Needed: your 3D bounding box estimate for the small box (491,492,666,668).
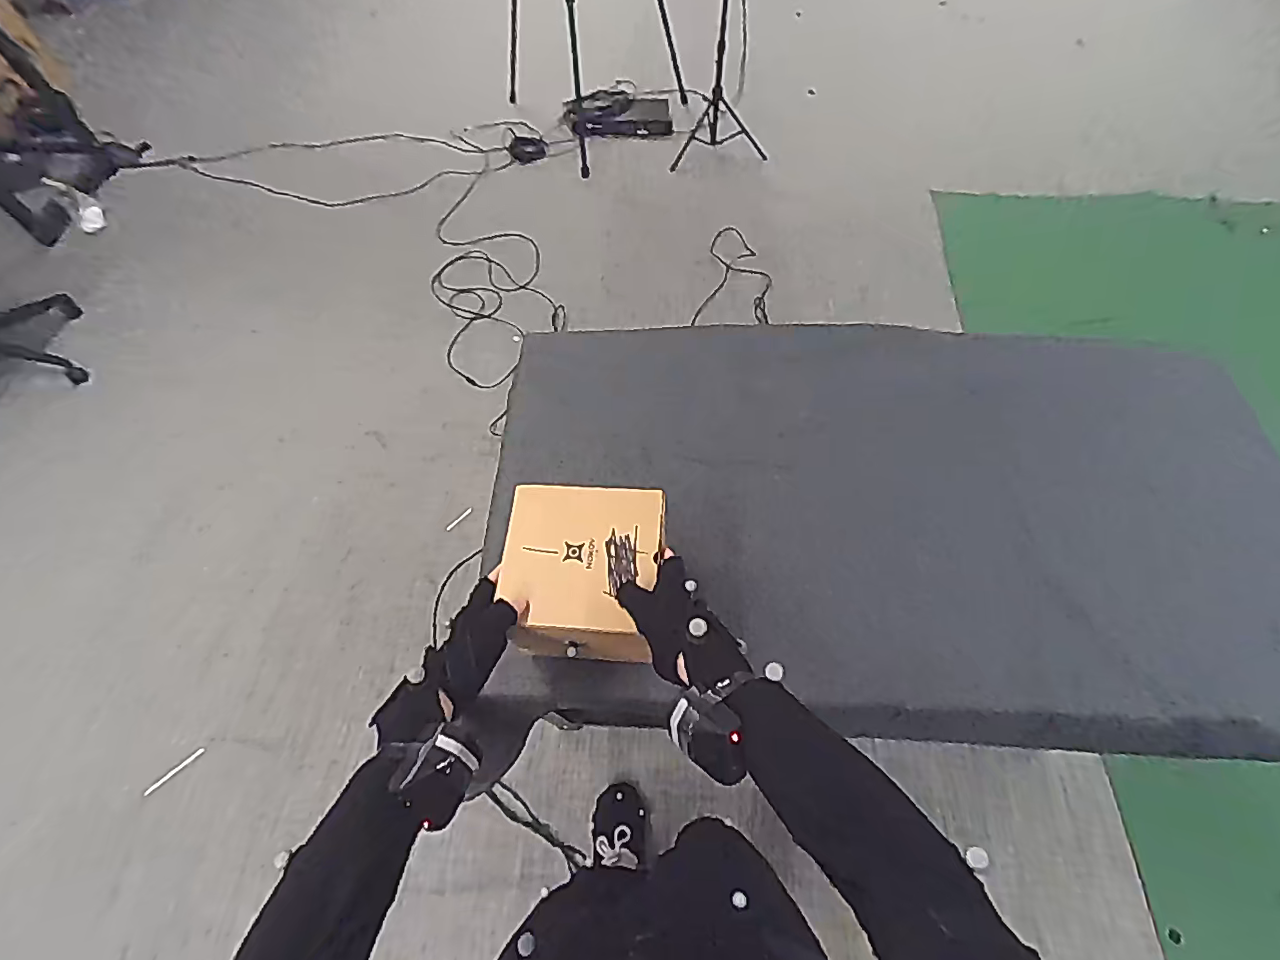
[{"bbox_3d":[-0.060,0.129,0.663,0.179,0.176,0.168,2,61,4],"label":"small box"}]
